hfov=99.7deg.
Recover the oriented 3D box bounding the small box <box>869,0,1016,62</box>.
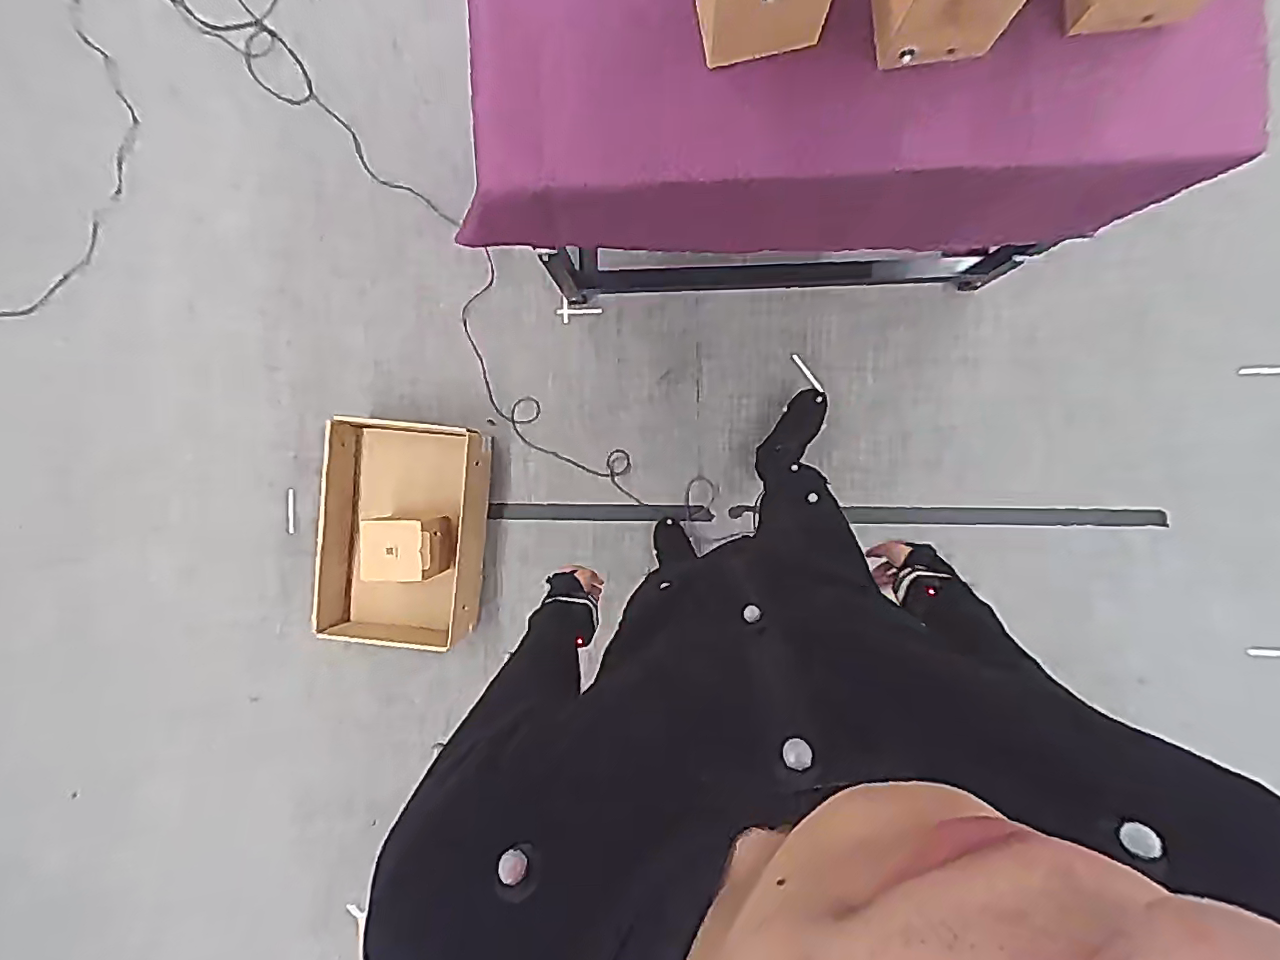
[{"bbox_3d":[0.436,-0.732,0.761,0.168,0.176,0.179,-6,91,3],"label":"small box"}]

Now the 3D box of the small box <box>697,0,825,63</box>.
[{"bbox_3d":[0.171,-0.745,0.773,0.179,0.176,0.168,-10,92,3],"label":"small box"}]

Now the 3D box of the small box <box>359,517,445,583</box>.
[{"bbox_3d":[-0.664,0.190,1.524,0.179,0.176,0.168,0,90,3],"label":"small box"}]
